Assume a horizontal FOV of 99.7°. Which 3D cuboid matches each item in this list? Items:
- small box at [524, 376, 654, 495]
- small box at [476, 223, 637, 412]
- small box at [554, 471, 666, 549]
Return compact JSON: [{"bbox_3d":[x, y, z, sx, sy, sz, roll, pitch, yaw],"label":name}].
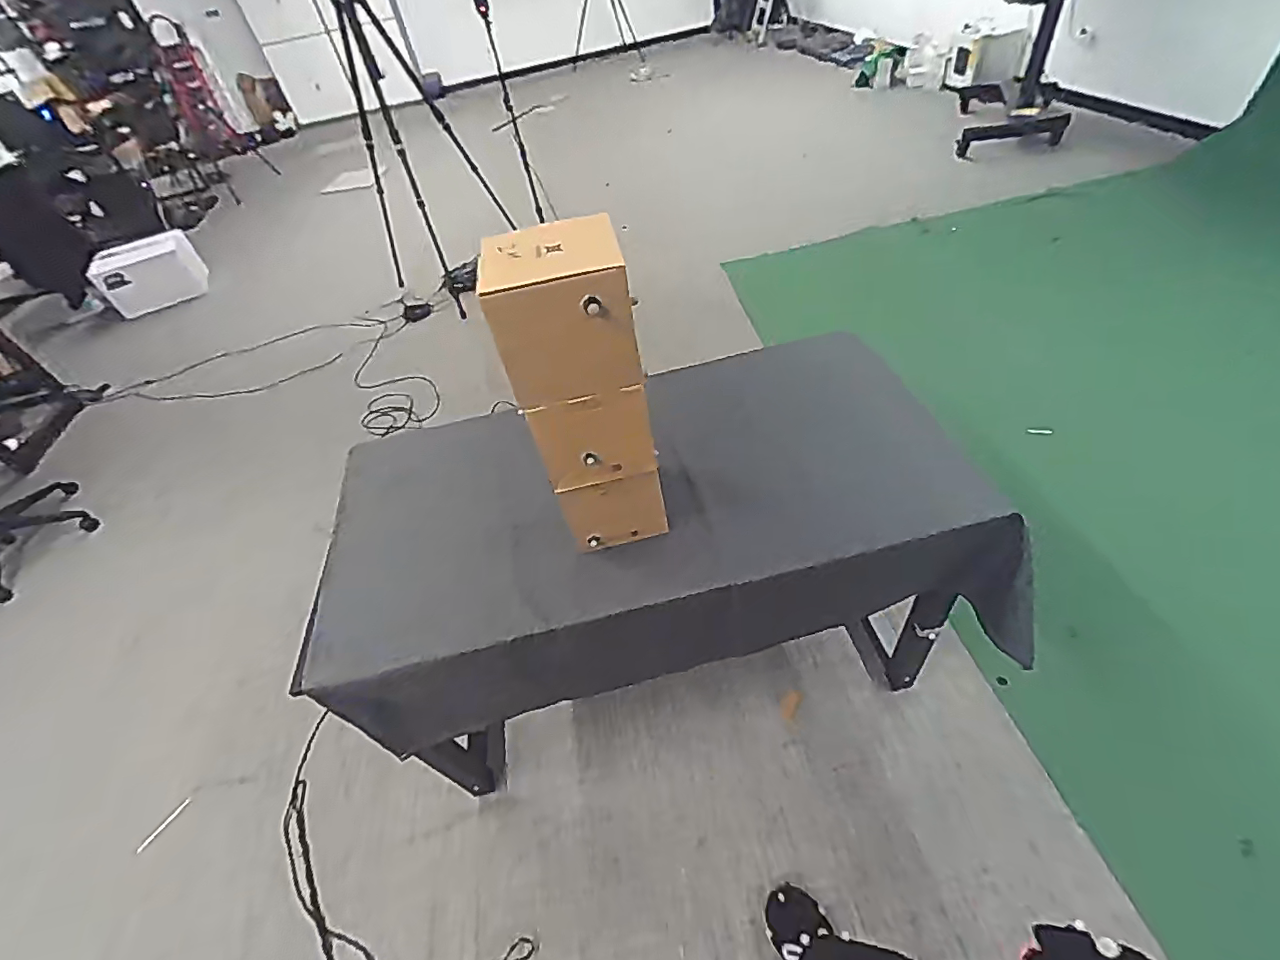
[{"bbox_3d":[-0.081,-0.105,0.850,0.168,0.176,0.179,-14,46,-1],"label":"small box"},{"bbox_3d":[-0.104,-0.216,0.730,0.179,0.176,0.168,-13,46,0],"label":"small box"},{"bbox_3d":[-0.056,0.005,0.966,0.168,0.176,0.179,-14,45,-1],"label":"small box"}]
